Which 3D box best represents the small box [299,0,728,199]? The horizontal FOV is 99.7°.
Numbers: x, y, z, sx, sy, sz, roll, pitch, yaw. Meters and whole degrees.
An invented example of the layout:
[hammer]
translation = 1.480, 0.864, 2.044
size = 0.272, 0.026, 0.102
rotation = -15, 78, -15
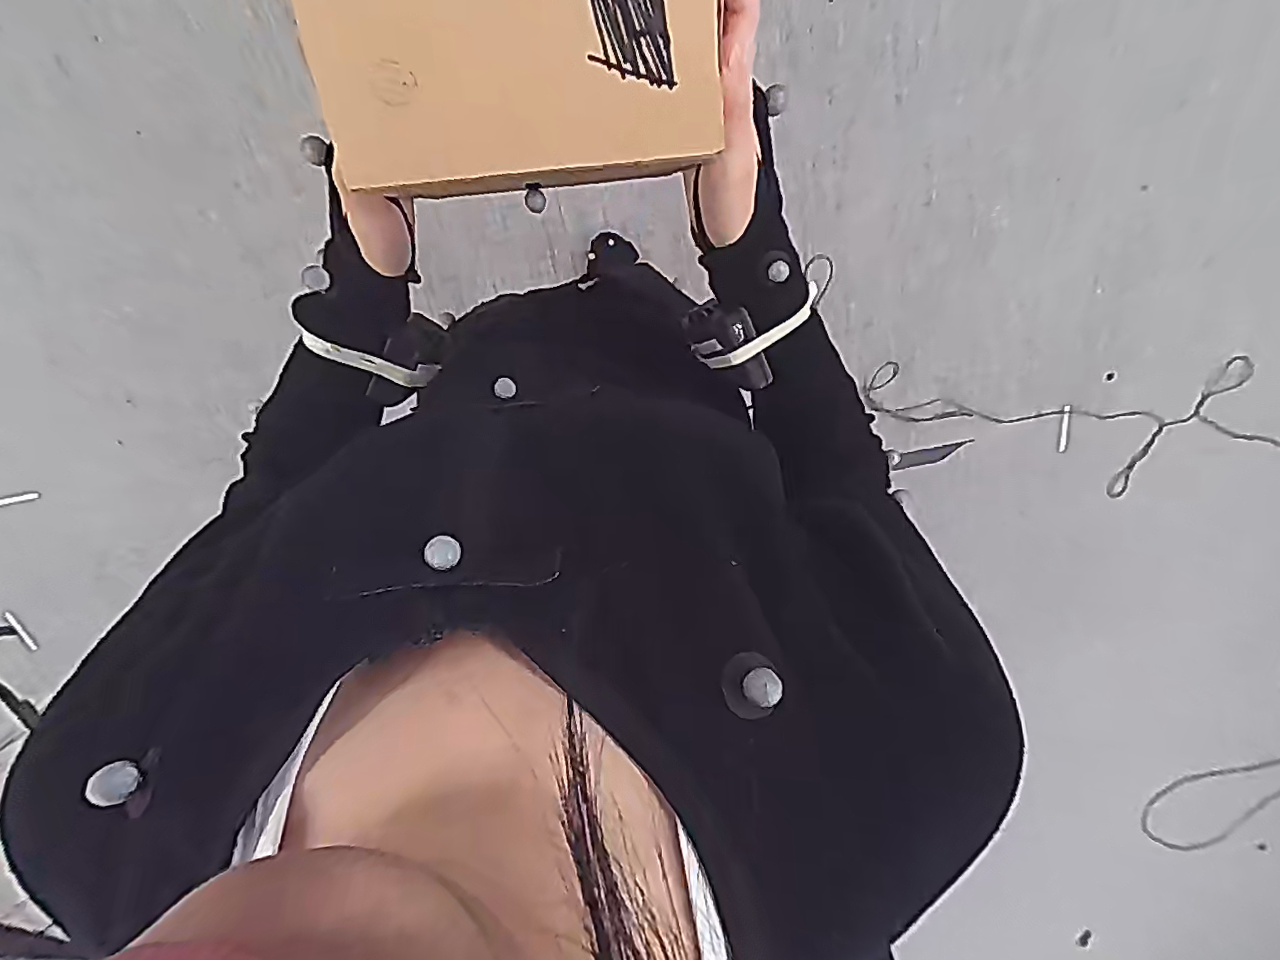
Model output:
[small box]
translation = -0.060, -0.248, 0.285
size = 0.179, 0.176, 0.168
rotation = -7, 117, -3
